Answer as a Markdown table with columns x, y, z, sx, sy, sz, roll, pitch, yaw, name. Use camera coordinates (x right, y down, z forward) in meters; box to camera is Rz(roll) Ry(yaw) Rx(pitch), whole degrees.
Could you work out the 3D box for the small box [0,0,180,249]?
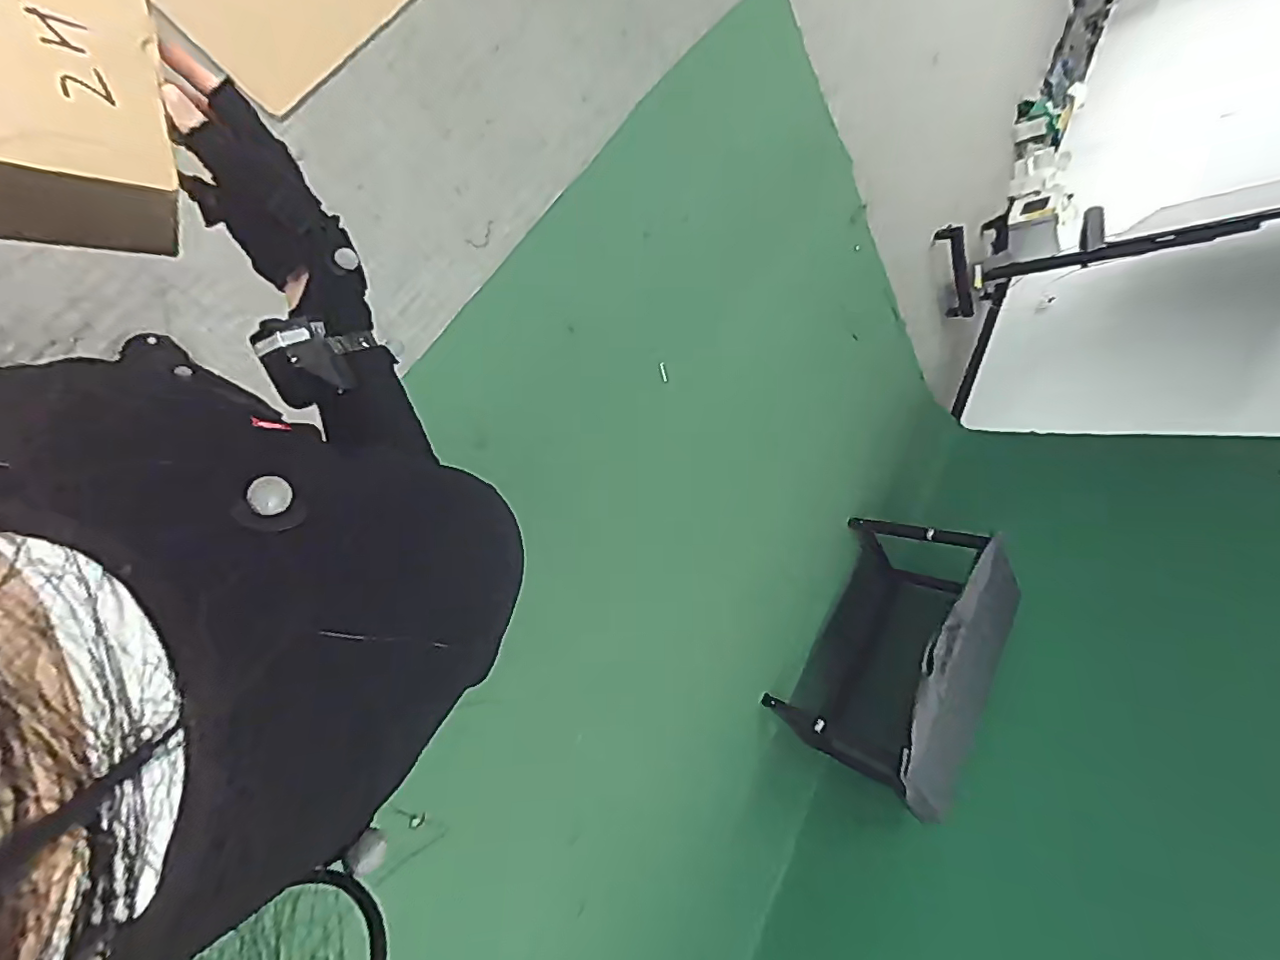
| x | y | z | sx | sy | sz | roll | pitch | yaw | name |
| --- | --- | --- | --- | --- | --- | --- | --- | --- | --- |
| -0.413 | -0.259 | 0.339 | 0.179 | 0.176 | 0.168 | -9 | 100 | -40 | small box |
